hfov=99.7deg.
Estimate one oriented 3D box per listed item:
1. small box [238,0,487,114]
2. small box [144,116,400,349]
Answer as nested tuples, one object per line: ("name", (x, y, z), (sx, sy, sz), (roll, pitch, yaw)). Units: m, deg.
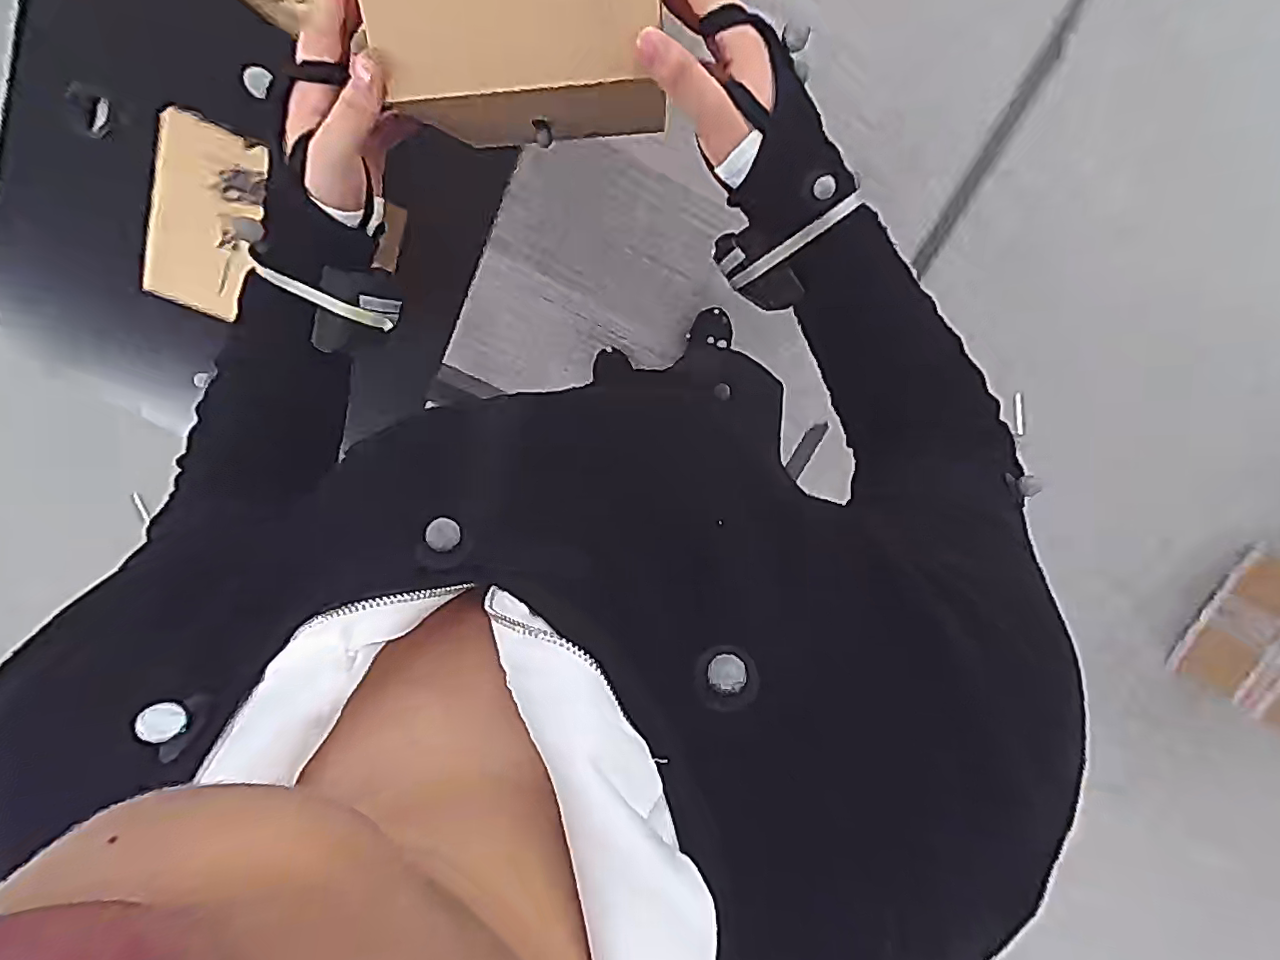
("small box", (-0.272, -0.519, 0.554), (0.168, 0.176, 0.179), (21, 105, -2))
("small box", (-0.404, -0.264, 0.622), (0.168, 0.176, 0.179), (21, 105, -3))
